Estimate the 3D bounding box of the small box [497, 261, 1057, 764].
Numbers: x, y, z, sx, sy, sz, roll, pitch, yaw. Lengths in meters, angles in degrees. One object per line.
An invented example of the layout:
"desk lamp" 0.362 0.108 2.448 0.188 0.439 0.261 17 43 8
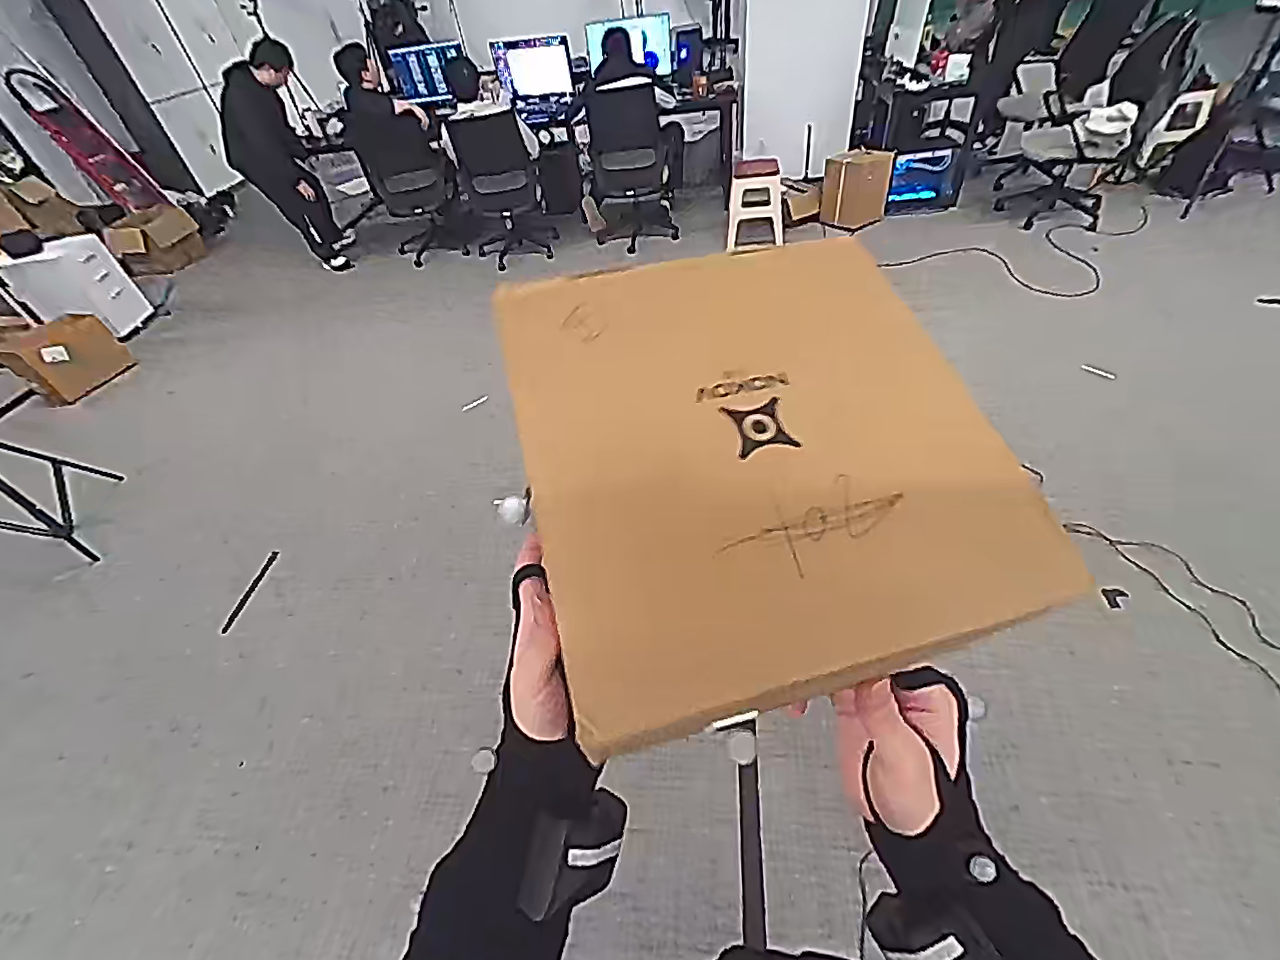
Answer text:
"small box" 0.036 0.025 0.276 0.168 0.176 0.179 -15 62 -10
